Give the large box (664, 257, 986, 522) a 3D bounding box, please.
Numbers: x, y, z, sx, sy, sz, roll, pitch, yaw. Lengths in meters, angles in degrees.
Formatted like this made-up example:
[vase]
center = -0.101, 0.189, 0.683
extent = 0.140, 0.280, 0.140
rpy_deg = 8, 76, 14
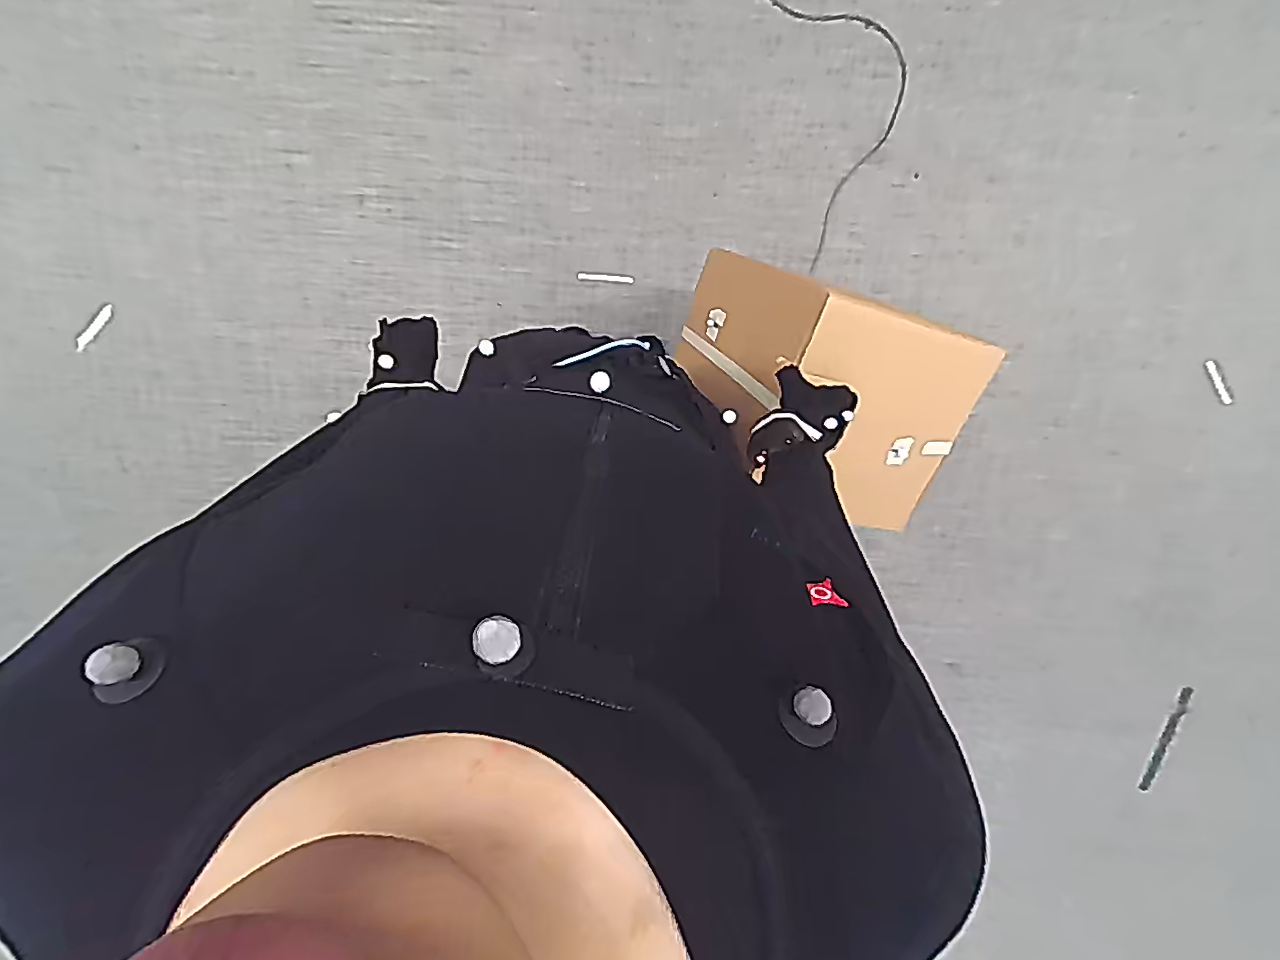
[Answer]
[large box]
center = 0.276, -0.169, 0.947
extent = 0.320, 0.408, 0.320
rpy_deg = 9, 117, -20
